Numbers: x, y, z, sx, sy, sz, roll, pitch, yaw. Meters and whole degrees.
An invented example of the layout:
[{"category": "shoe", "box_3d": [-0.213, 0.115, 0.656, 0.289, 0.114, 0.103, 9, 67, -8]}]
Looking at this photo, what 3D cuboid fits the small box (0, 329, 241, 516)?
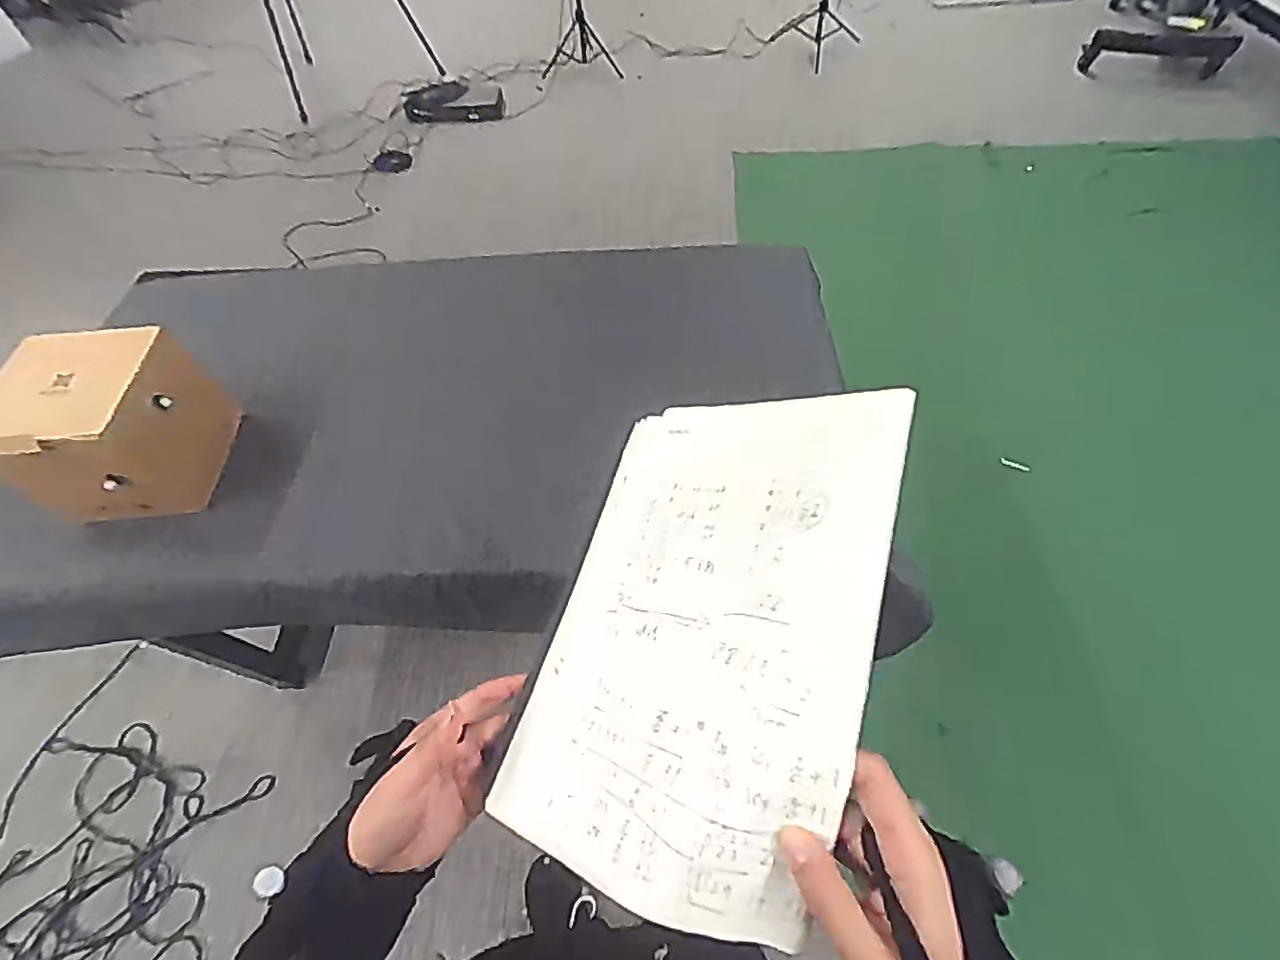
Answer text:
[{"category": "small box", "box_3d": [-0.660, -0.065, 0.691, 0.168, 0.176, 0.179, -5, 56, -2]}]
